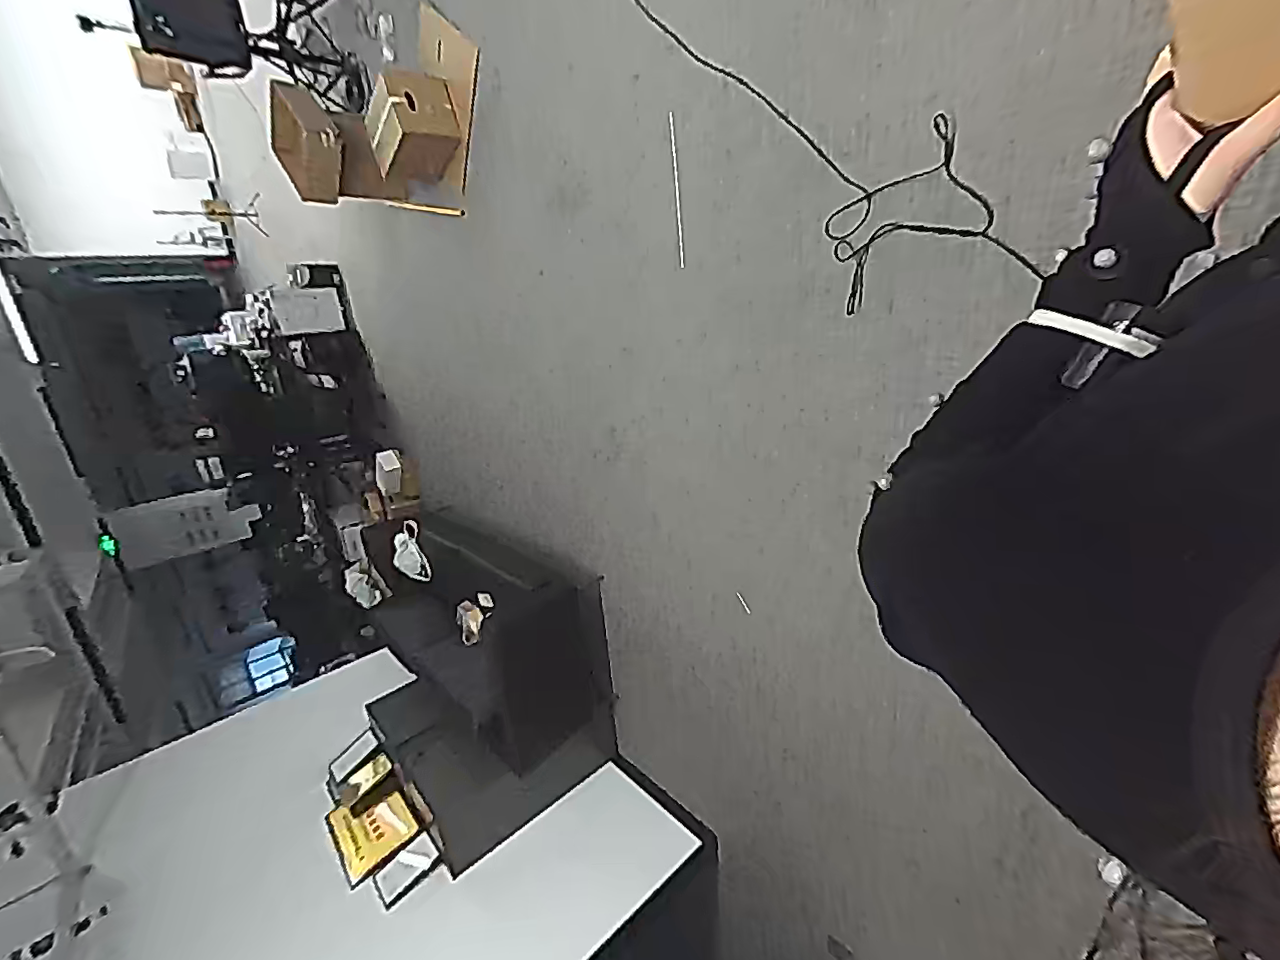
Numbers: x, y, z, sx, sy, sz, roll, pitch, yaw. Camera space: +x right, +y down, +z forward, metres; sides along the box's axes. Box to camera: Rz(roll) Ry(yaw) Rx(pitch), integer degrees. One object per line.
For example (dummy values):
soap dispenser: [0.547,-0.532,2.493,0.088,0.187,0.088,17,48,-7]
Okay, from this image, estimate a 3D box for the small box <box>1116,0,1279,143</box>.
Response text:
small box: [0.377,-0.336,0.282,0.179,0.176,0.168,45,158,-28]
